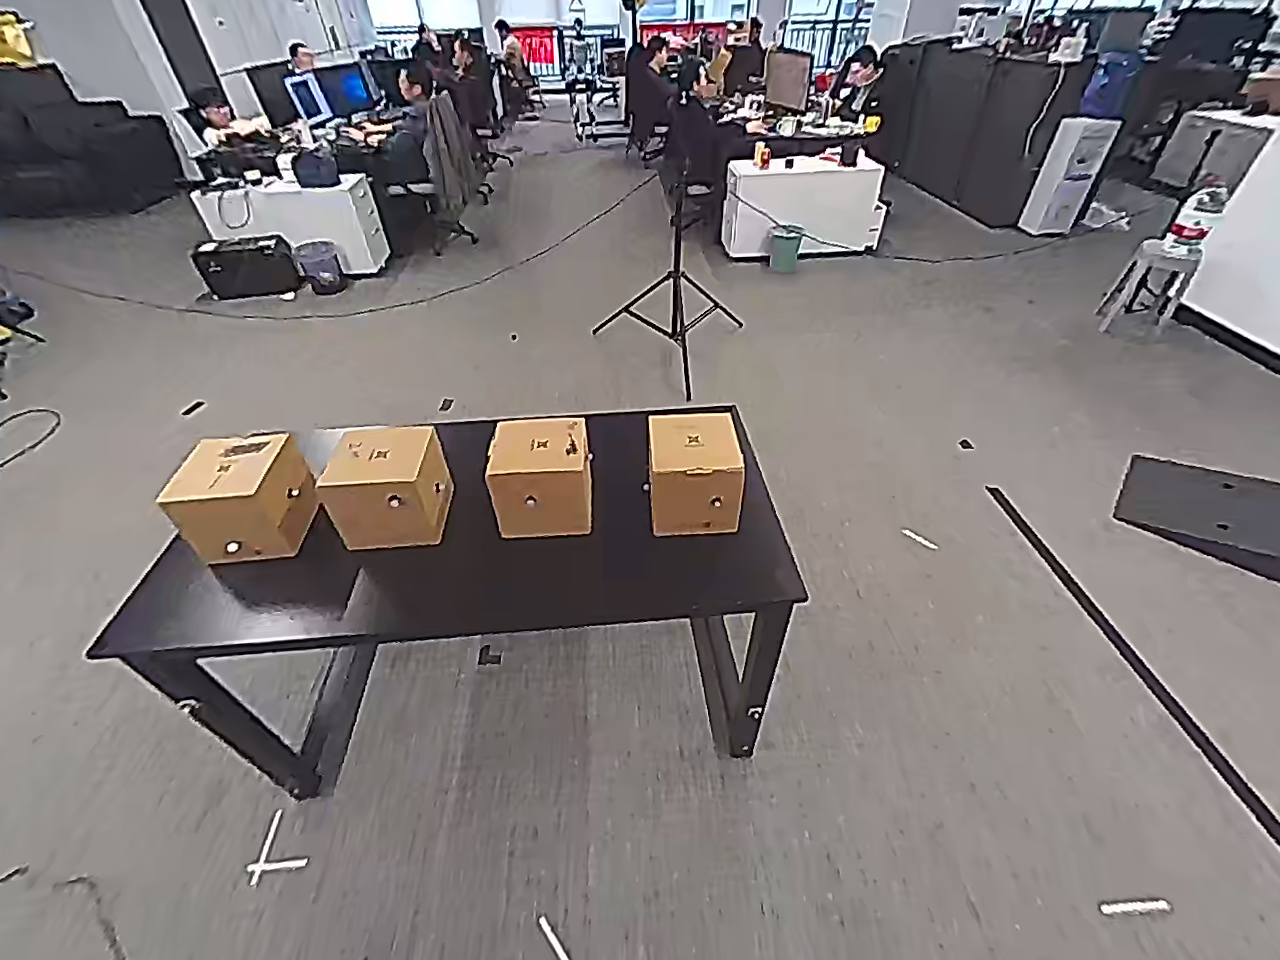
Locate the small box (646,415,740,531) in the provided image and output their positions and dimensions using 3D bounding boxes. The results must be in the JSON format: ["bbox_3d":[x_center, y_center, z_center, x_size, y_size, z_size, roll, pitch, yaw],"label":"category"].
[{"bbox_3d":[0.098,-0.010,1.073,0.168,0.176,0.179,-2,41,-1],"label":"small box"}]

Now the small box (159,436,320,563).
[{"bbox_3d":[-0.750,0.037,1.042,0.168,0.176,0.179,-5,43,-4],"label":"small box"}]

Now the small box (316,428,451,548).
[{"bbox_3d":[-0.484,0.017,1.057,0.179,0.176,0.168,-4,41,-4],"label":"small box"}]

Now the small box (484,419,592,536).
[{"bbox_3d":[-0.192,-0.002,1.073,0.179,0.176,0.168,-3,42,-1],"label":"small box"}]
